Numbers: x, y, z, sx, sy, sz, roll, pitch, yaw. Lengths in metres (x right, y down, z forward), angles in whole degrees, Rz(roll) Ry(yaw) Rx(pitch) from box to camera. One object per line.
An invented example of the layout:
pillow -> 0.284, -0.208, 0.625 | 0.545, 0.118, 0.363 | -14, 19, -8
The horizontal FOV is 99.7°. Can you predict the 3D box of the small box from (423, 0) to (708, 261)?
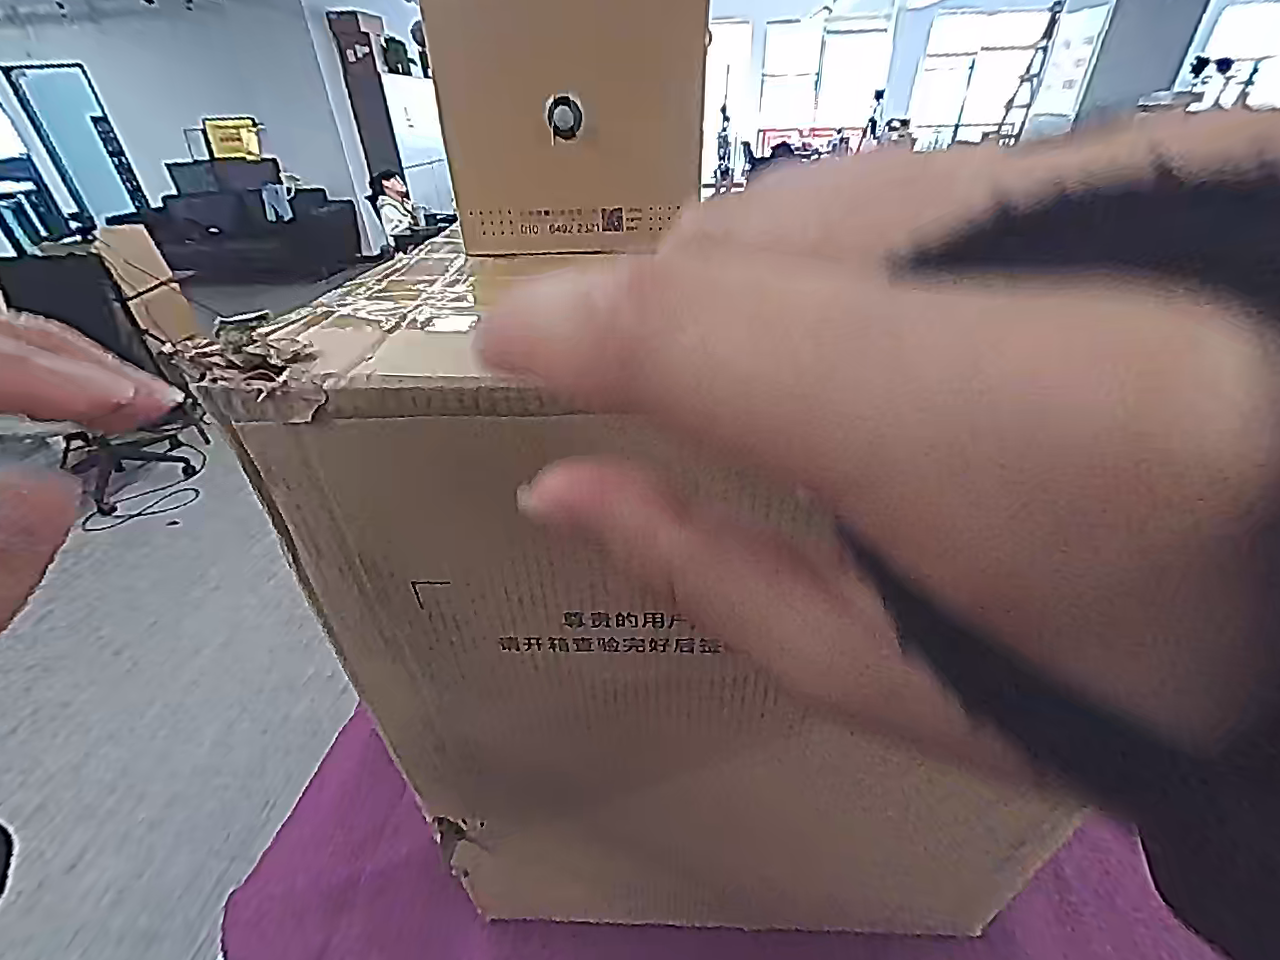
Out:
small box -> -0.043, -0.268, 0.406 | 0.168, 0.176, 0.179 | -2, 34, -3
